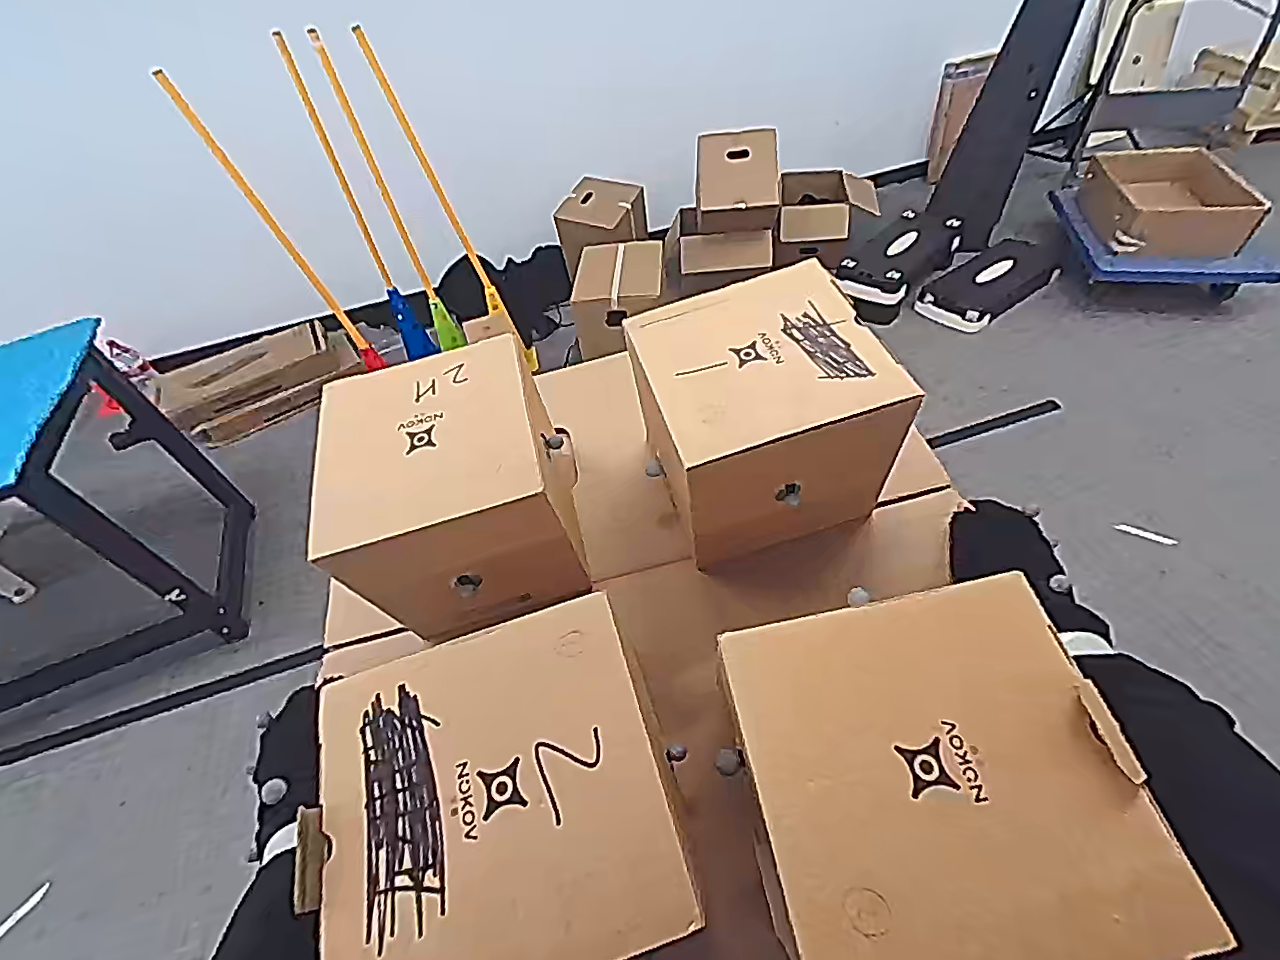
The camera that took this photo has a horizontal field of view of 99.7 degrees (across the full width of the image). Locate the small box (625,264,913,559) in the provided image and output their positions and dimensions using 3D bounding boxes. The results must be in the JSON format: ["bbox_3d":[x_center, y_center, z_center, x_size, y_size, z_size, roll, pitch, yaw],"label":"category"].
[{"bbox_3d":[0.099,-0.053,0.483,0.179,0.176,0.168,-18,56,-1],"label":"small box"}]

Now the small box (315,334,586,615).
[{"bbox_3d":[-0.154,0.006,0.486,0.168,0.176,0.179,-16,55,-2],"label":"small box"}]
